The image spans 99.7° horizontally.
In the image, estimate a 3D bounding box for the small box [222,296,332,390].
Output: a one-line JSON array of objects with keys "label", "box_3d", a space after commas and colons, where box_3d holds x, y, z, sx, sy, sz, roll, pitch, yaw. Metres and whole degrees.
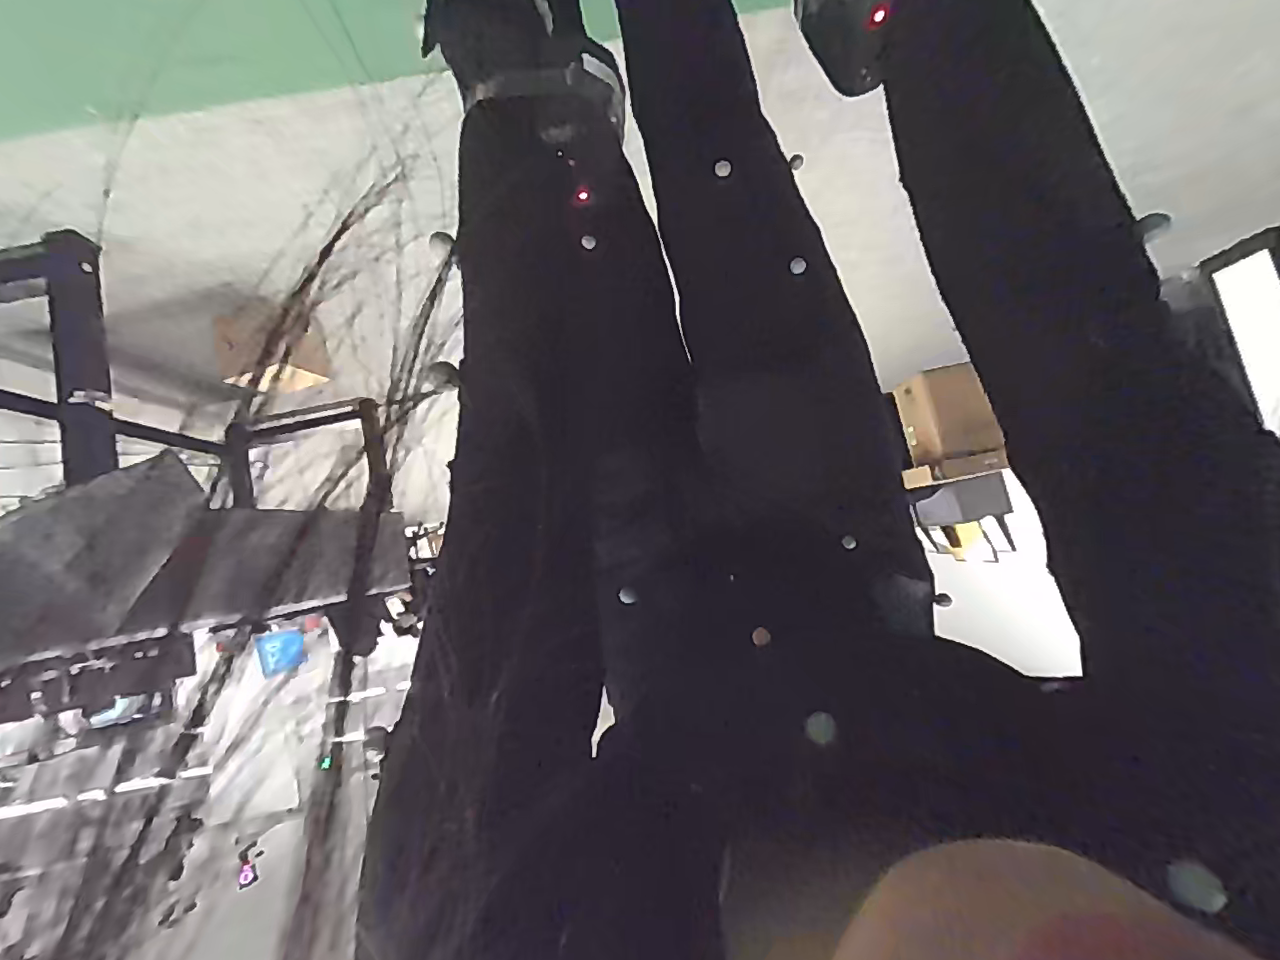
[{"label": "small box", "box_3d": [-0.929, -0.346, 1.385, 0.179, 0.176, 0.168, -12, 174, 10]}]
